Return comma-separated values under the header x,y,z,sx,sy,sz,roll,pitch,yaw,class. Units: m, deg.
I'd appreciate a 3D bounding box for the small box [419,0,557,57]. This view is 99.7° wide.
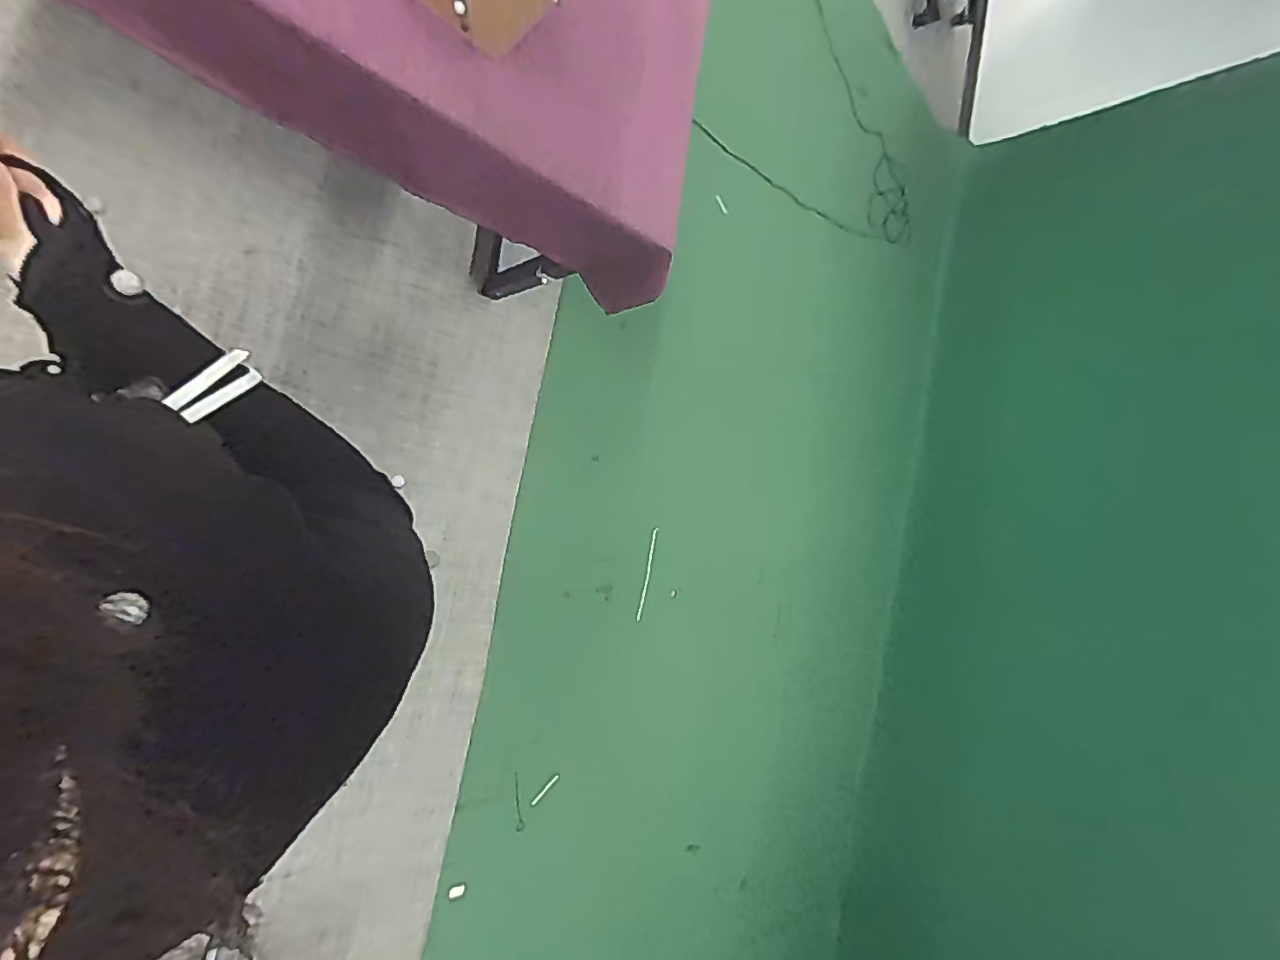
x,y,z,sx,sy,sz,roll,pitch,yaw,class
-0.205,-0.726,0.711,0.168,0.176,0.179,12,86,-42,small box
